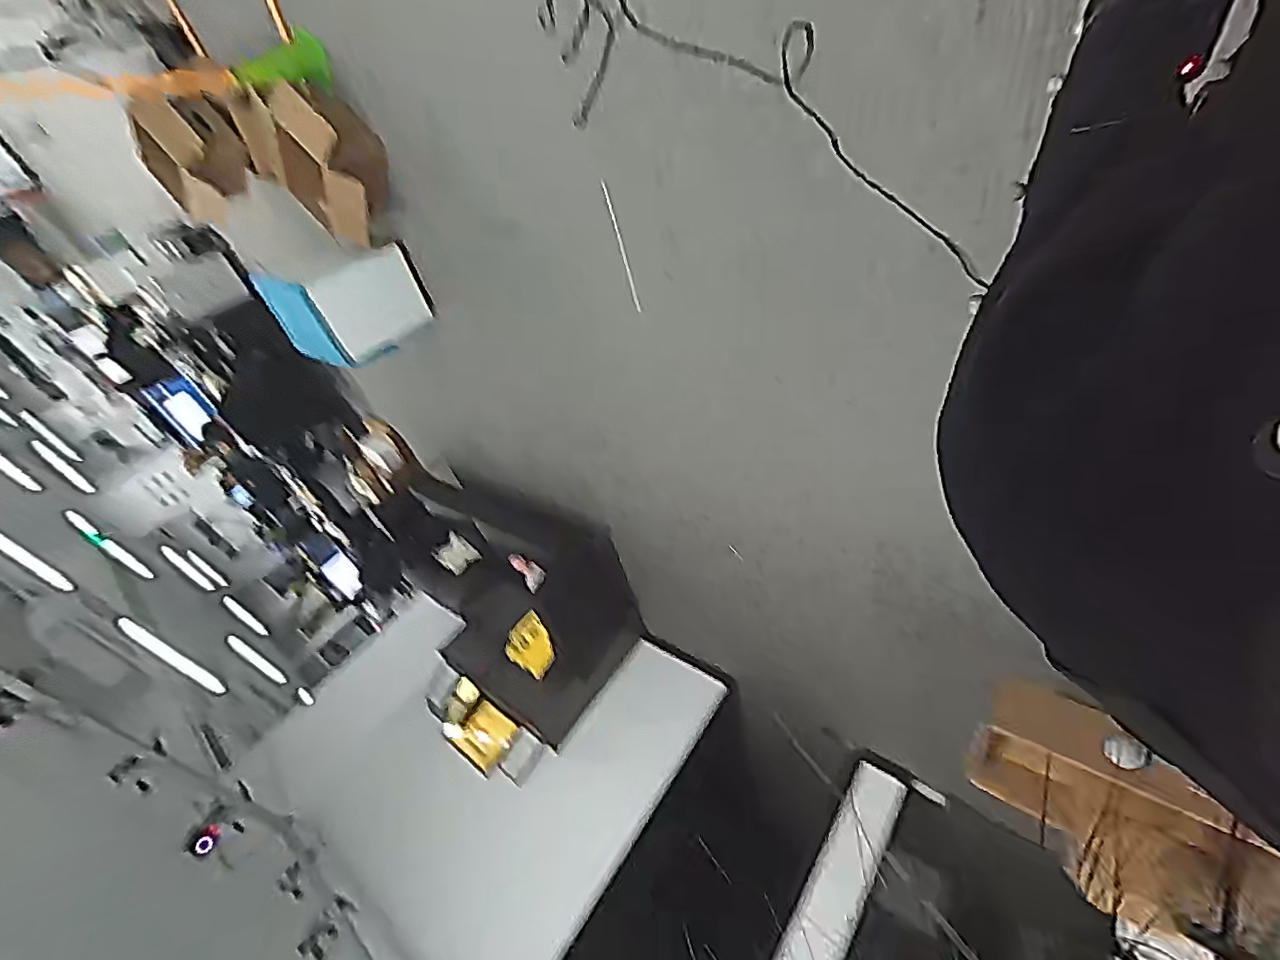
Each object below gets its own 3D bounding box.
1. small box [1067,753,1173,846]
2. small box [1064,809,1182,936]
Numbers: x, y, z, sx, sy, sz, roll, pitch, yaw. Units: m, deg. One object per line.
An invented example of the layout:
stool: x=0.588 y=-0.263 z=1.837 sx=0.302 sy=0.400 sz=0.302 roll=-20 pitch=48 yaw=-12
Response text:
small box: x=1.298 y=0.872 z=1.458 sx=0.168 sy=0.176 sz=0.179 roll=53 pitch=148 yaw=-13
small box: x=1.210 y=0.965 z=1.352 sx=0.168 sy=0.176 sz=0.179 roll=52 pitch=148 yaw=-15
